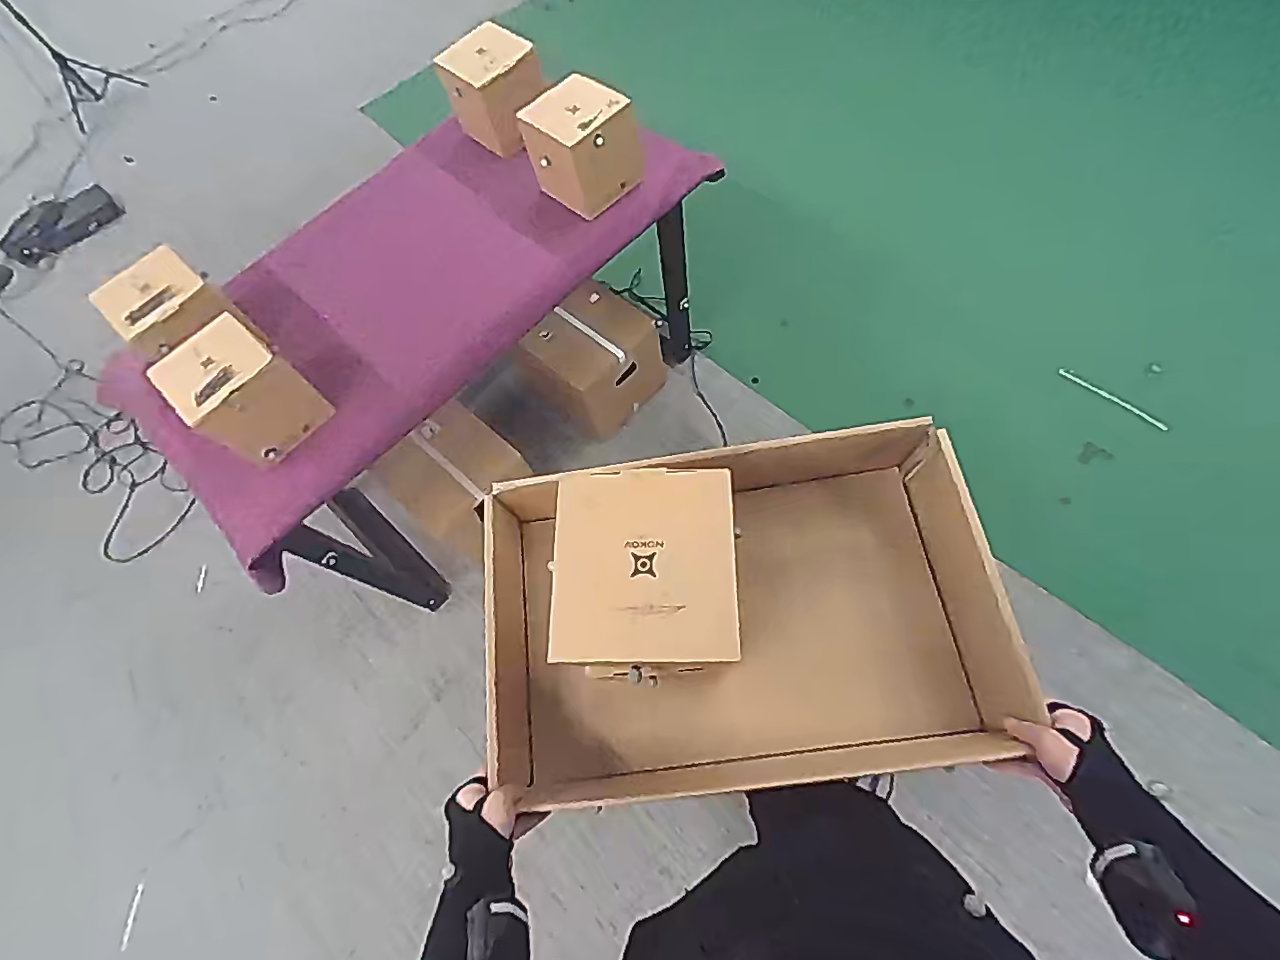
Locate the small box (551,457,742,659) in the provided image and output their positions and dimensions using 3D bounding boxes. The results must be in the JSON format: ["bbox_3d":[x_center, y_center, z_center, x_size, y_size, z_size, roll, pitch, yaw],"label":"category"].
[{"bbox_3d":[0.013,0.088,0.562,0.168,0.176,0.179,-1,70,5],"label":"small box"}]

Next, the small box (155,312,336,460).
[{"bbox_3d":[-0.697,-0.159,0.976,0.179,0.176,0.168,38,75,22],"label":"small box"}]

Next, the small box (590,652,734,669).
[{"bbox_3d":[0.026,0.152,0.712,0.168,0.176,0.179,-4,70,3],"label":"small box"}]

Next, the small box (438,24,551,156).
[{"bbox_3d":[-0.324,-0.897,1.253,0.168,0.176,0.179,-45,69,-10],"label":"small box"}]

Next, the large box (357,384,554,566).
[{"bbox_3d":[-0.532,-0.007,1.618,0.408,0.320,0.320,37,75,22],"label":"large box"}]

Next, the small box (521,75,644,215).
[{"bbox_3d":[-0.114,-0.695,1.135,0.168,0.176,0.179,-44,65,-10],"label":"small box"}]
